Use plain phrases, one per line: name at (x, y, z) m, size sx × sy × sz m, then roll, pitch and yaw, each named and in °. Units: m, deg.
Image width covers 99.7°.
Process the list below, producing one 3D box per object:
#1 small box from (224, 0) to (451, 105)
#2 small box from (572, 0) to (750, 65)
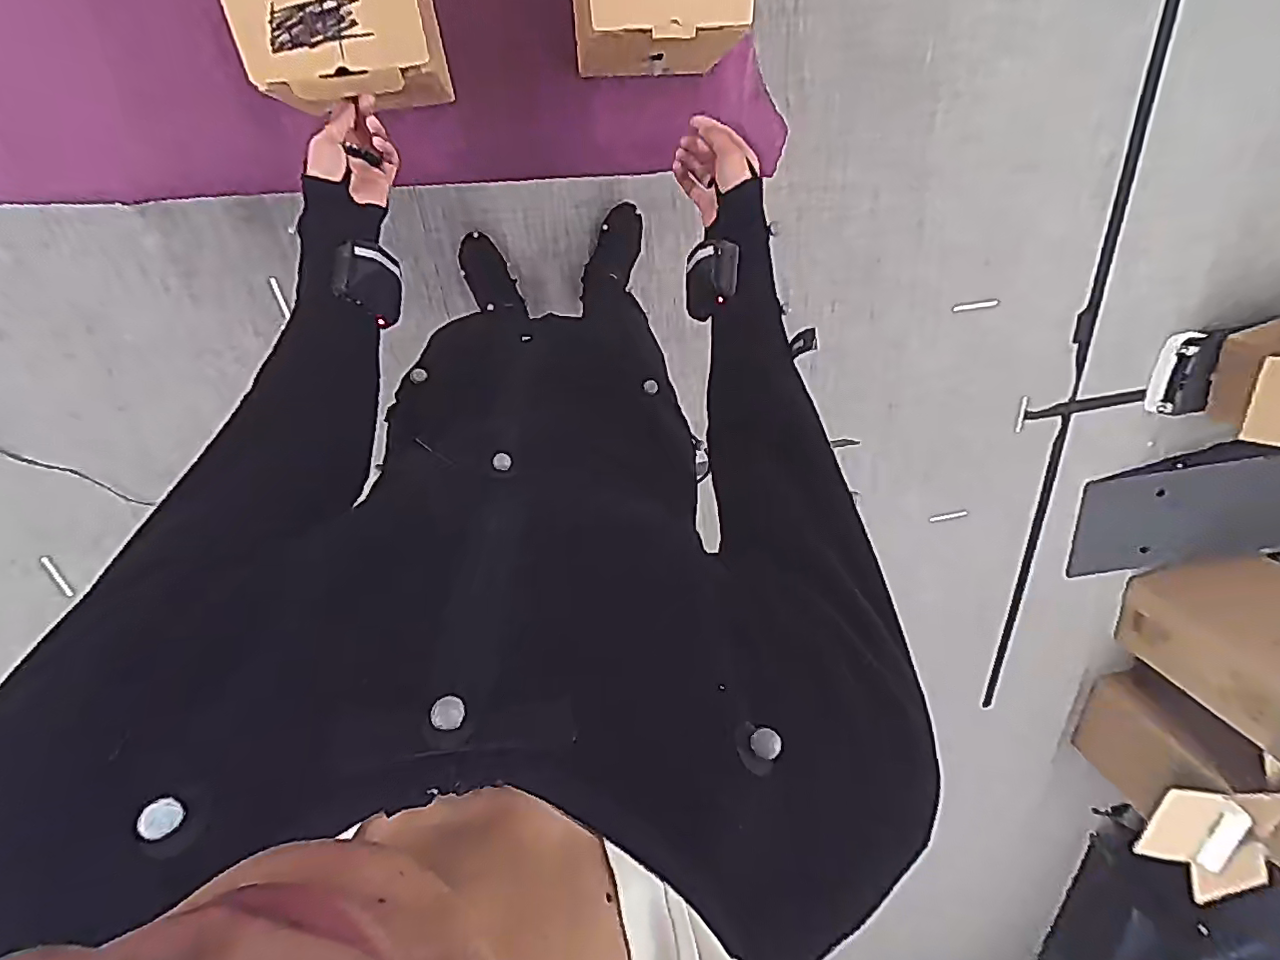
small box at (-0.300, -0.494, 0.539) m, size 0.168 × 0.176 × 0.179 m, roll -11°, pitch 116°, yaw -6°
small box at (0.014, -0.560, 0.568) m, size 0.168 × 0.176 × 0.179 m, roll -7°, pitch 116°, yaw -8°
